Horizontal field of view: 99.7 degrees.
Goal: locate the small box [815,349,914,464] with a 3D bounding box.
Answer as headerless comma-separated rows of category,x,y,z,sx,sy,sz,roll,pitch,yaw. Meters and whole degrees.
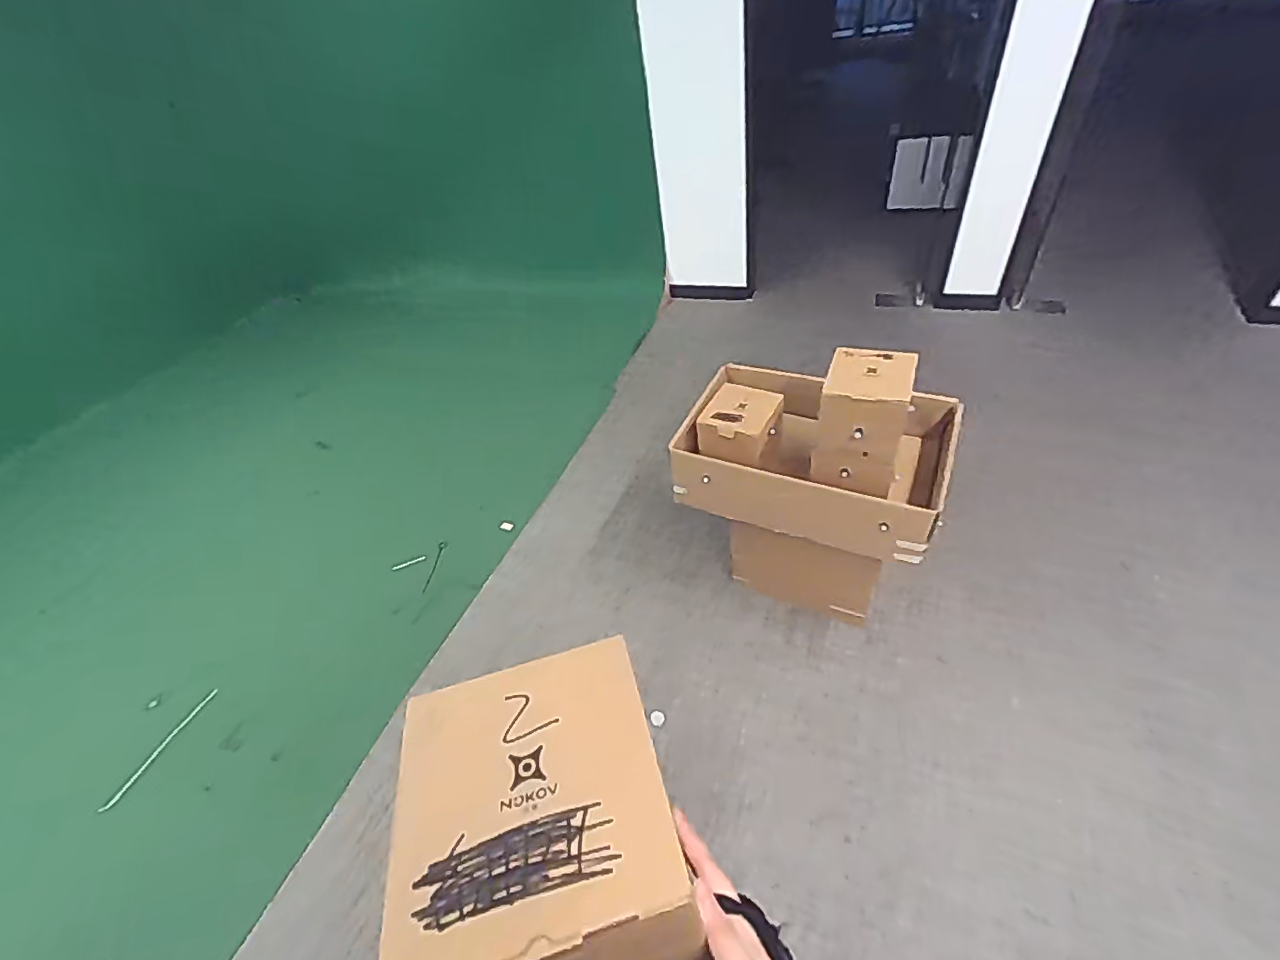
small box,0.480,-0.158,1.170,0.168,0.176,0.179,13,50,23
